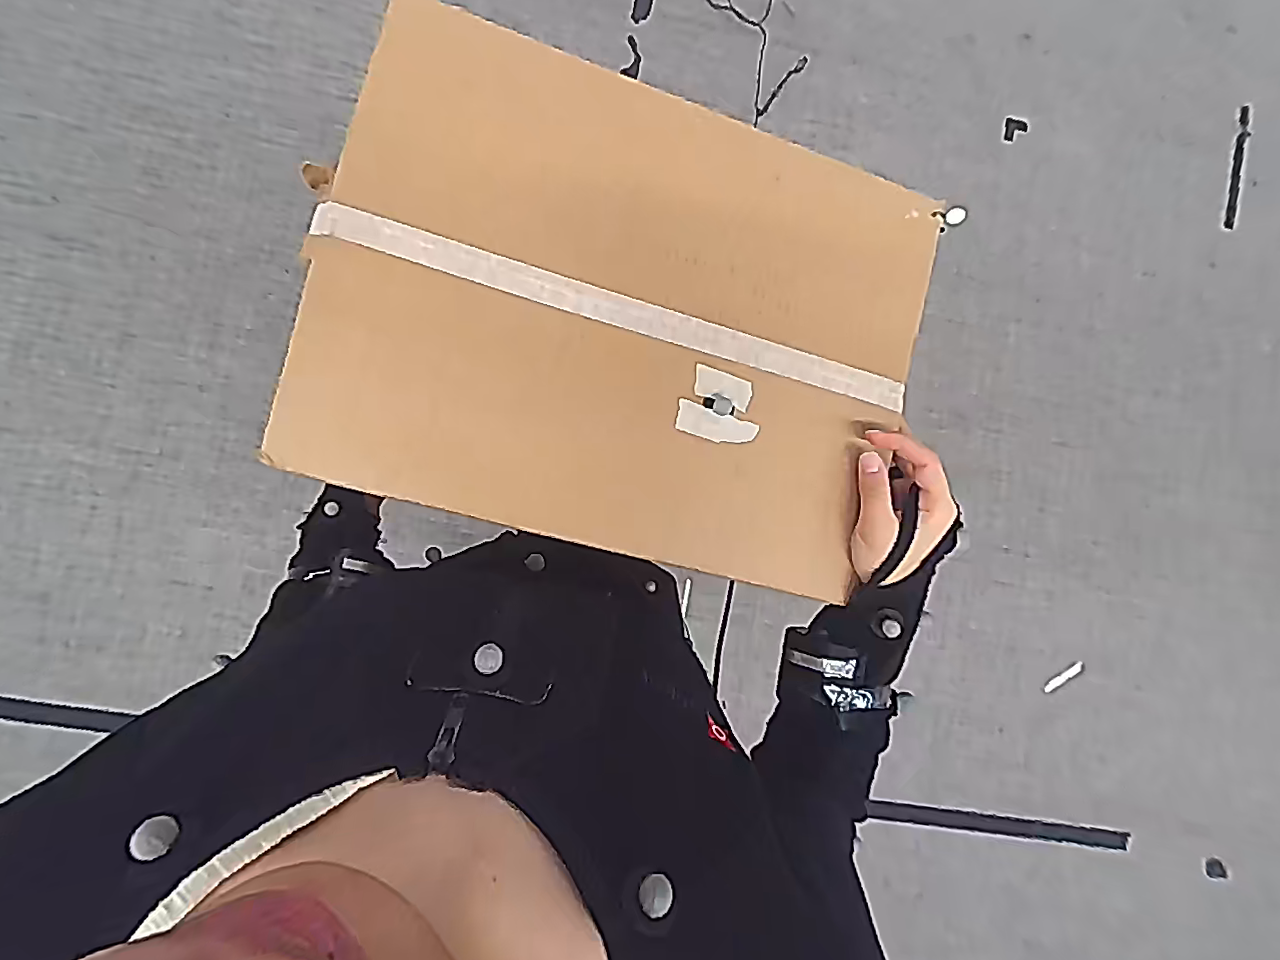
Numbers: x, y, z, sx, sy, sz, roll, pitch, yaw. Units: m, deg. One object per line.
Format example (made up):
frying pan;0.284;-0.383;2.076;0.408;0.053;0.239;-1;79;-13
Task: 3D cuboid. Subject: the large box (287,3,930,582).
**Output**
large box;-0.027;-0.114;0.520;0.408;0.320;0.320;15;88;-11
